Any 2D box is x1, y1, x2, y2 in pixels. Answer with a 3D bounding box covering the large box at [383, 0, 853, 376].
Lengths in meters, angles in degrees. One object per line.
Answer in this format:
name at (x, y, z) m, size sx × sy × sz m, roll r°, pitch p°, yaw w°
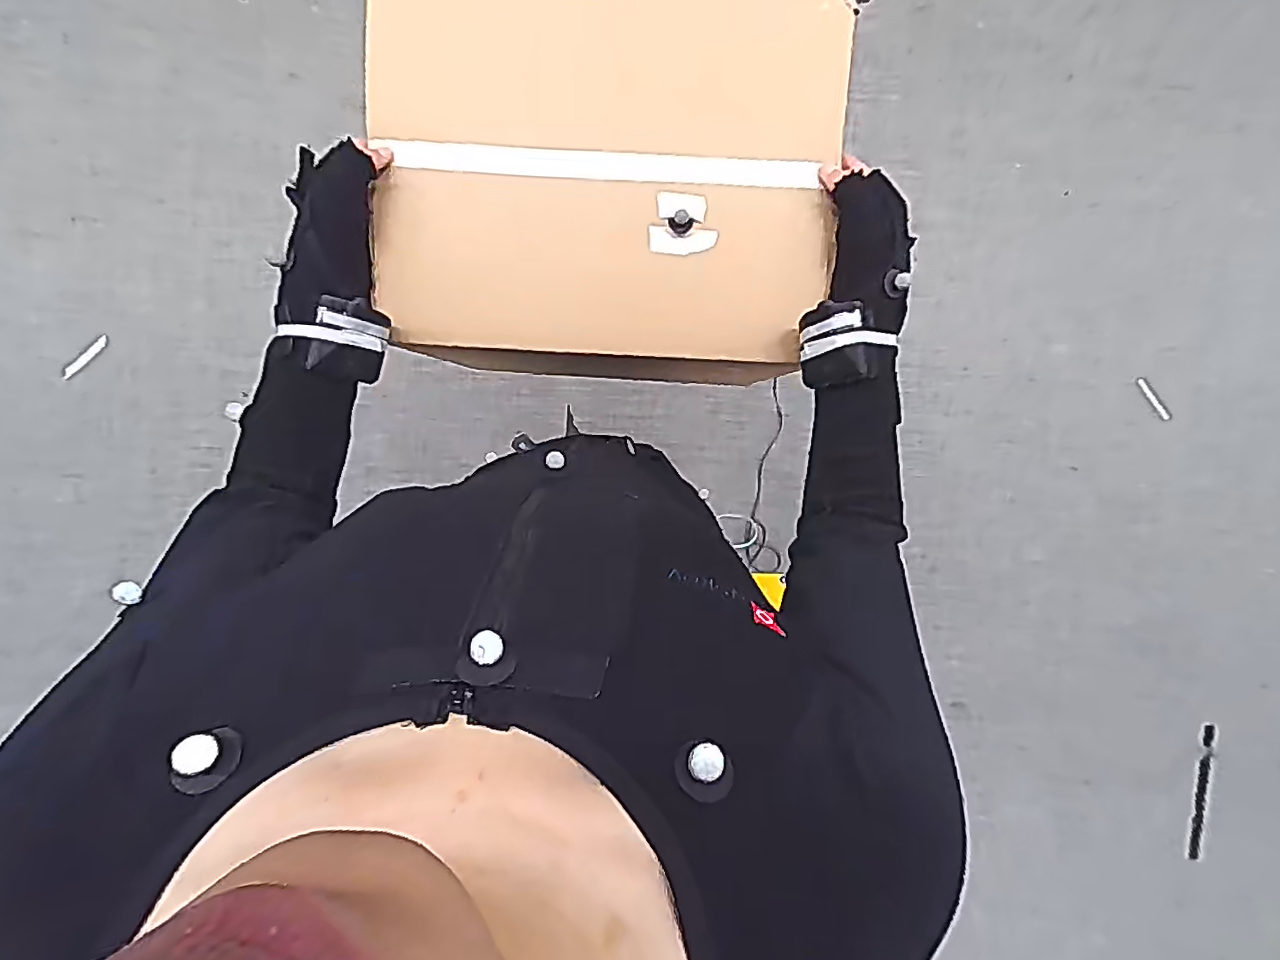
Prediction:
large box at (-0.027, -0.291, 0.617) m, size 0.408 × 0.320 × 0.320 m, roll 3°, pitch 97°, yaw -2°
